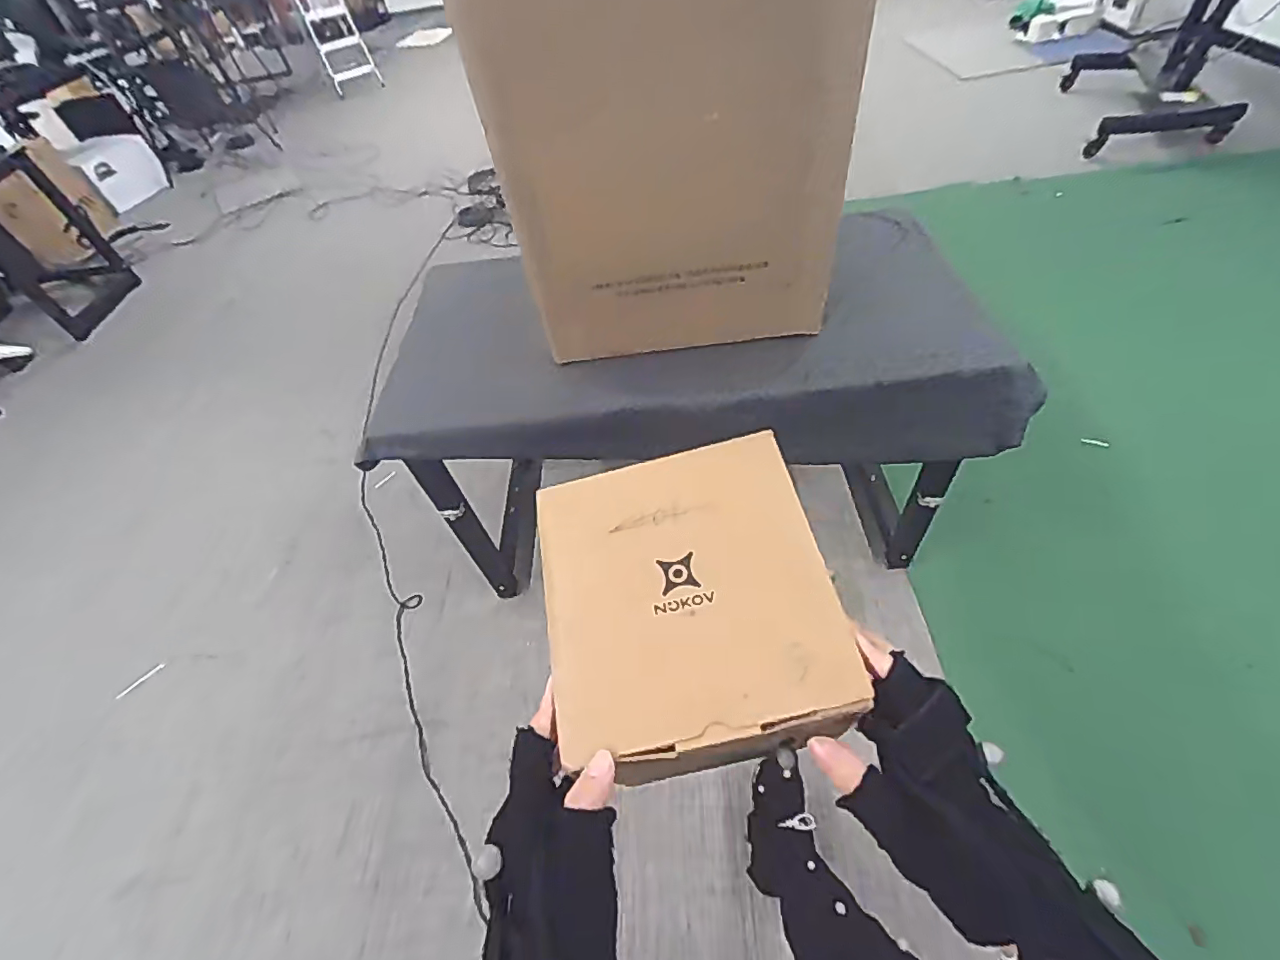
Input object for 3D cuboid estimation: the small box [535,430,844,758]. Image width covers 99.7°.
[{"bbox_3d":[0.033,0.096,0.400,0.168,0.176,0.179,-14,57,3],"label":"small box"}]
